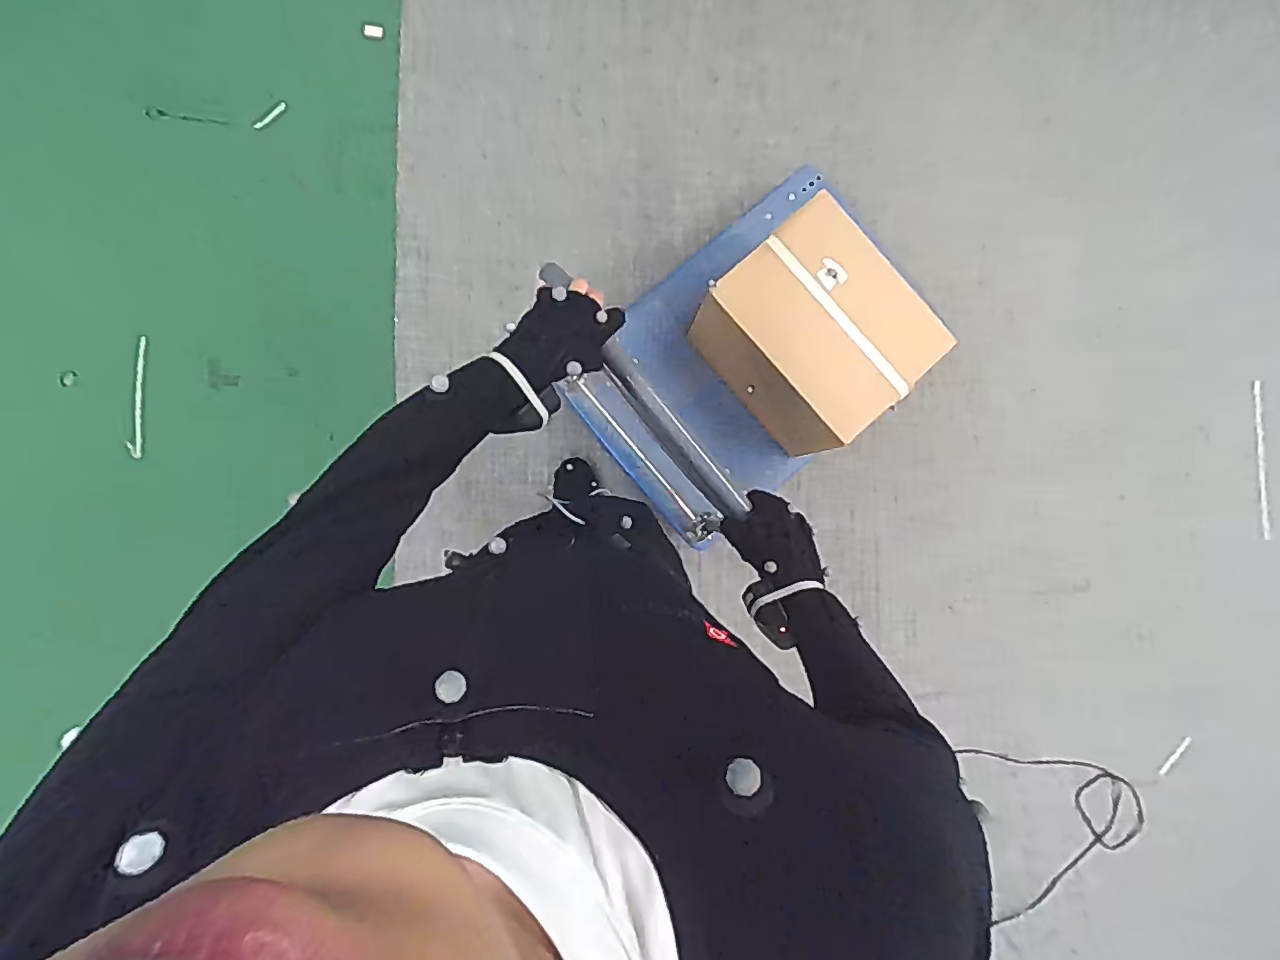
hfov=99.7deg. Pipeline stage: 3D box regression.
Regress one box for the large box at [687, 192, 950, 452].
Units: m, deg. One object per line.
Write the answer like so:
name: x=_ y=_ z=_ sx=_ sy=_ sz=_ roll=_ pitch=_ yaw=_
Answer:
large box: x=0.362 y=-0.316 z=1.201 sx=0.320 sy=0.320 sz=0.408 roll=-41 pitch=90 yaw=-4
